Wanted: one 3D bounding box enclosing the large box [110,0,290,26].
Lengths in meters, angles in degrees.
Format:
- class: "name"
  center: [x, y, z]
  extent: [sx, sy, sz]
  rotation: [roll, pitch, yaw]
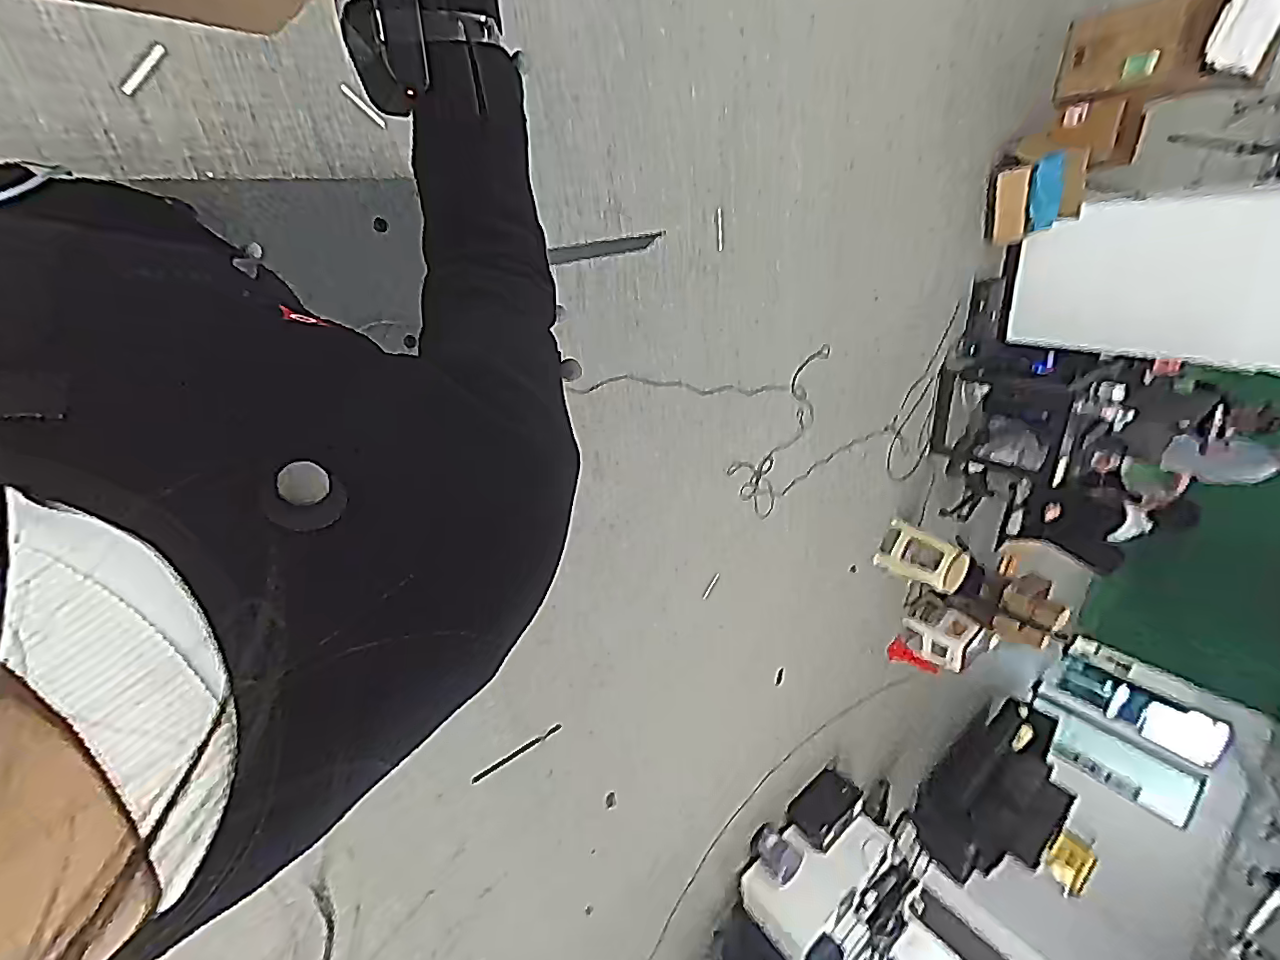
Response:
- class: "large box"
  center: [-0.391, -0.433, 0.210]
  extent: [0.408, 0.320, 0.320]
  rotation: [-18, 126, -35]
